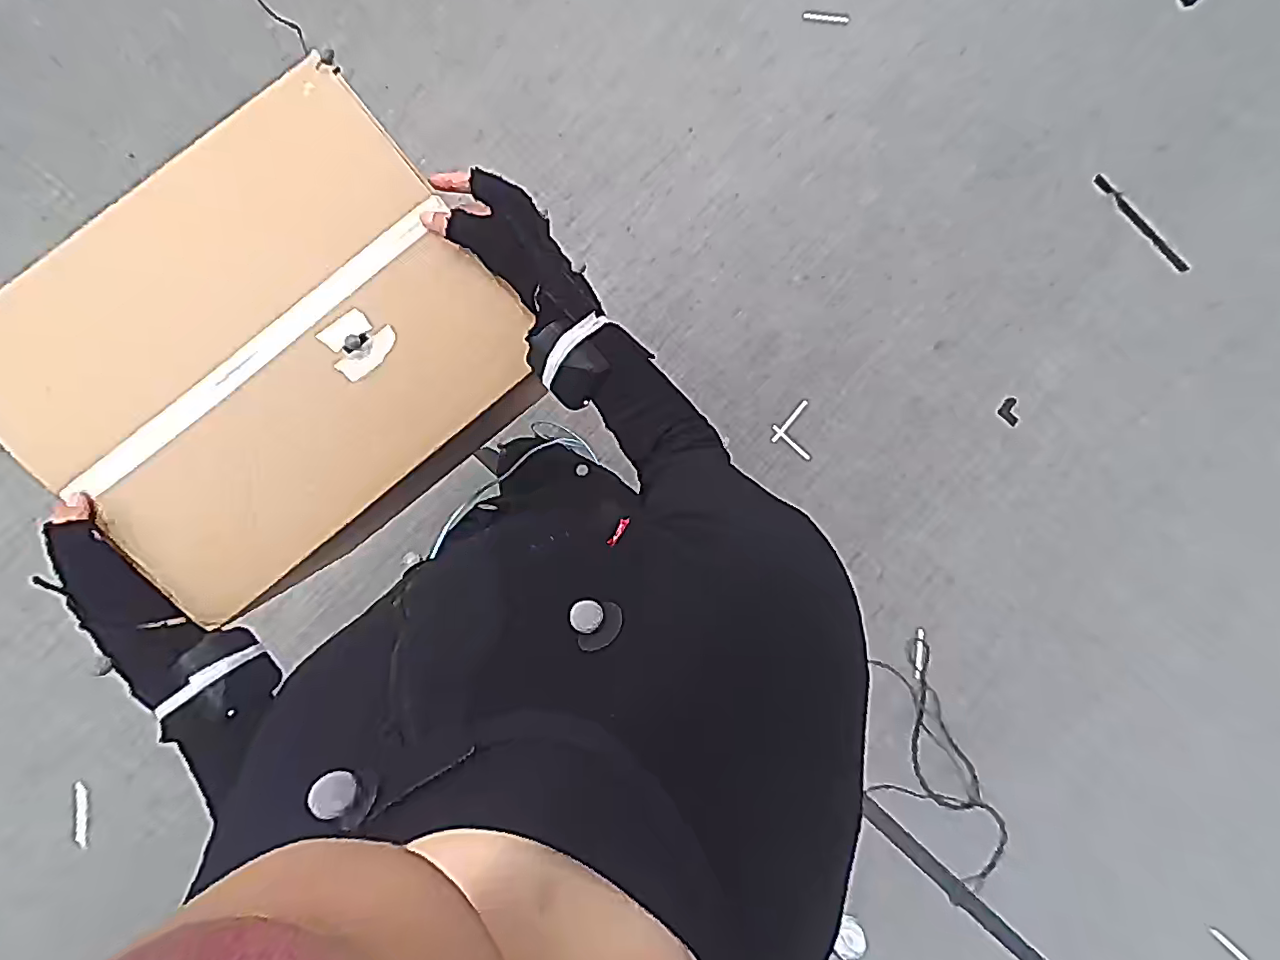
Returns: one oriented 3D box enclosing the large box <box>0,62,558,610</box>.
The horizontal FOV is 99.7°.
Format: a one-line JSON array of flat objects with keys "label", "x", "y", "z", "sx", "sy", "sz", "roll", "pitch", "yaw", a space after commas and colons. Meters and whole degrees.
[{"label": "large box", "x": -0.343, "y": -0.132, "z": 0.625, "sx": 0.408, "sy": 0.320, "sz": 0.320, "roll": -40, "pitch": 100, "yaw": -4}]
